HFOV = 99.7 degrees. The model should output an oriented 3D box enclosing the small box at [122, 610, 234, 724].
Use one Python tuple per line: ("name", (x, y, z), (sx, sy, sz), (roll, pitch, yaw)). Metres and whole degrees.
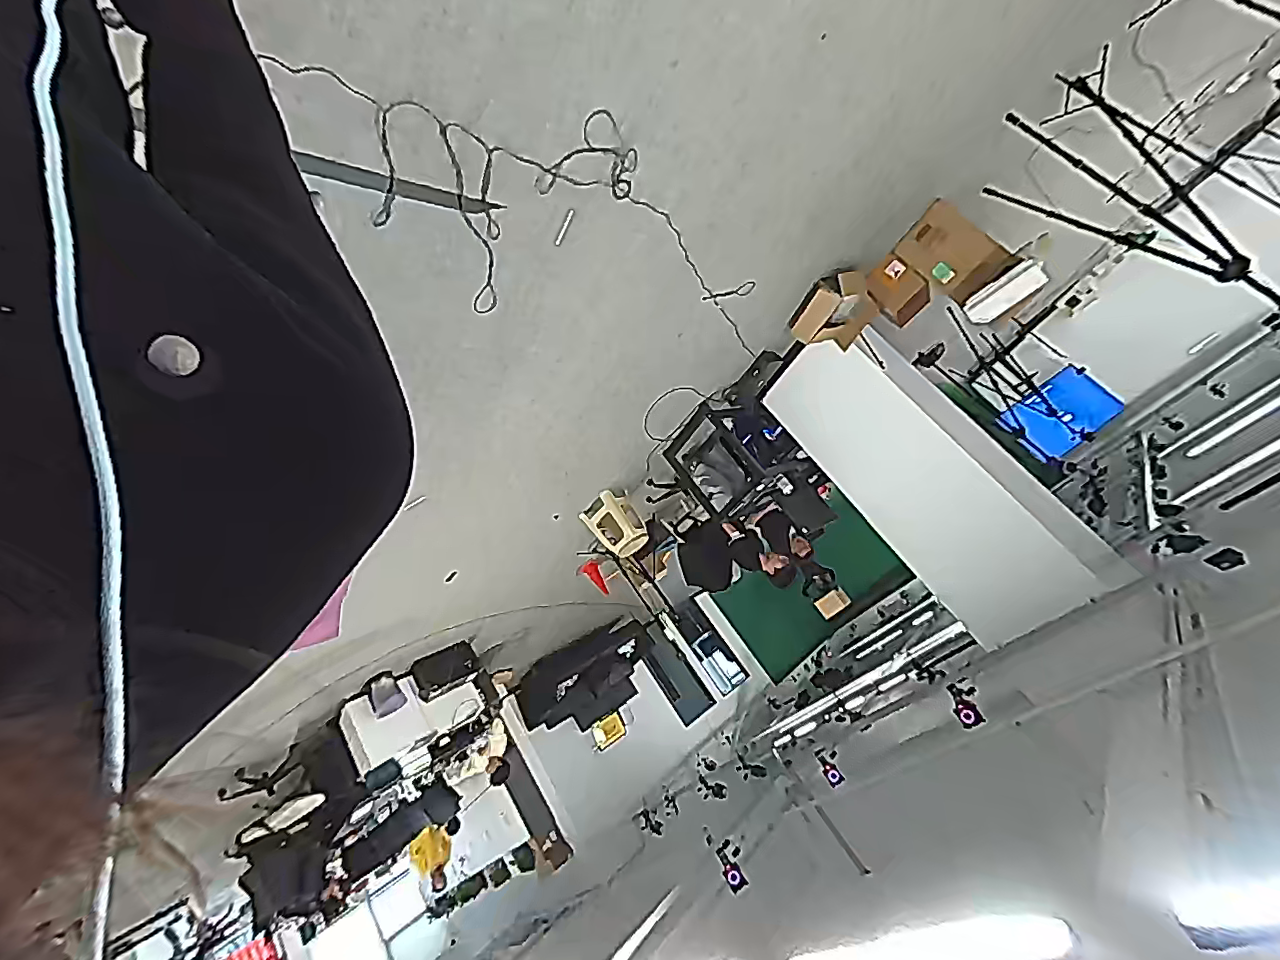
("small box", (-1.072, 0.423, 1.258), (0.168, 0.176, 0.179), (-14, 150, -45))
